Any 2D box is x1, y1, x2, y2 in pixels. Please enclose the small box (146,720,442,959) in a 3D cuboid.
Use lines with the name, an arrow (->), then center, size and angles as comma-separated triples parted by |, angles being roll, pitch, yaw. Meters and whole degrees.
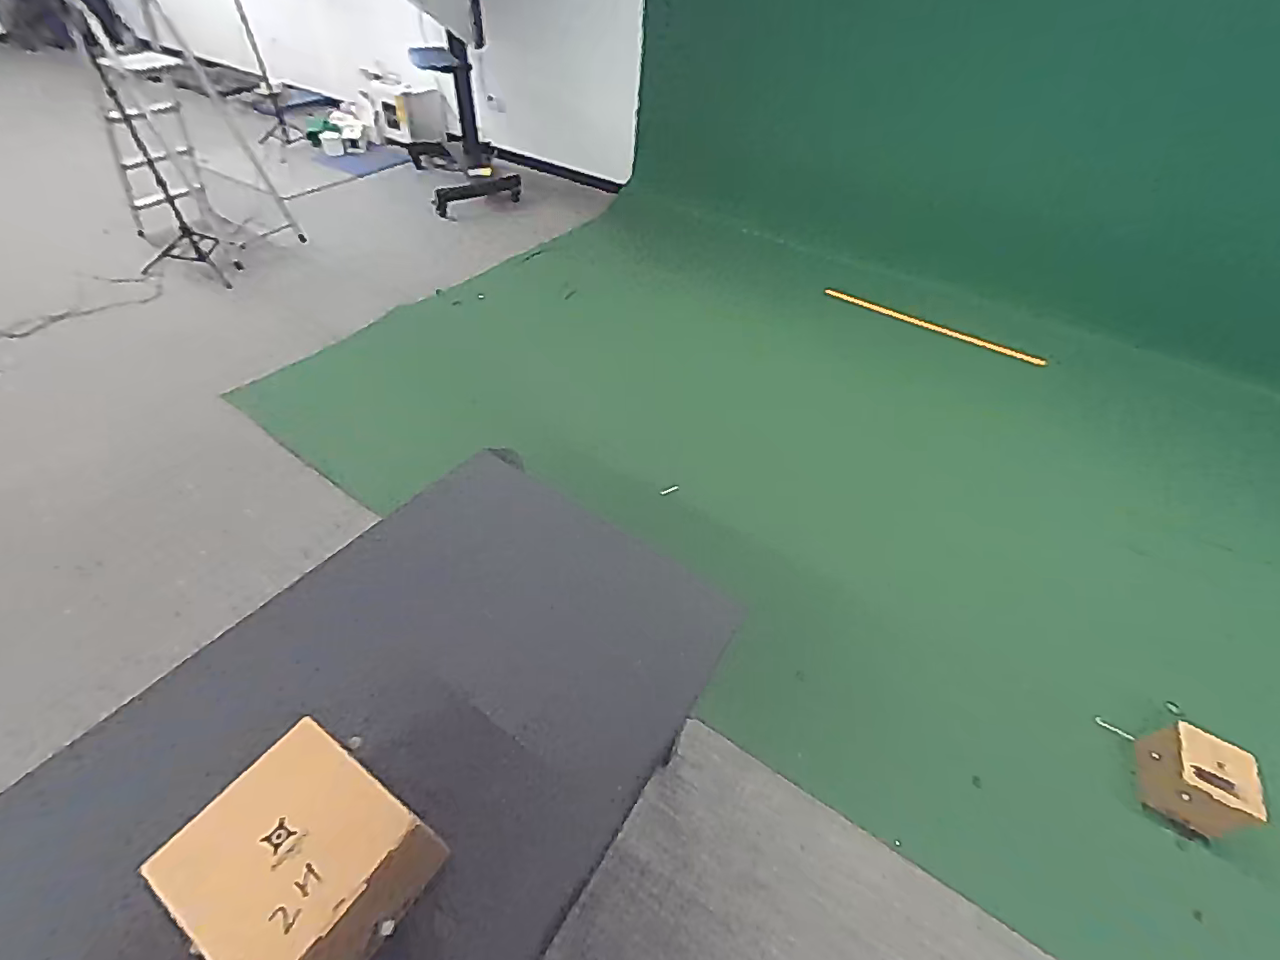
small box -> -0.338, 0.396, 0.562 | 0.179, 0.176, 0.168 | 28, 51, 20
